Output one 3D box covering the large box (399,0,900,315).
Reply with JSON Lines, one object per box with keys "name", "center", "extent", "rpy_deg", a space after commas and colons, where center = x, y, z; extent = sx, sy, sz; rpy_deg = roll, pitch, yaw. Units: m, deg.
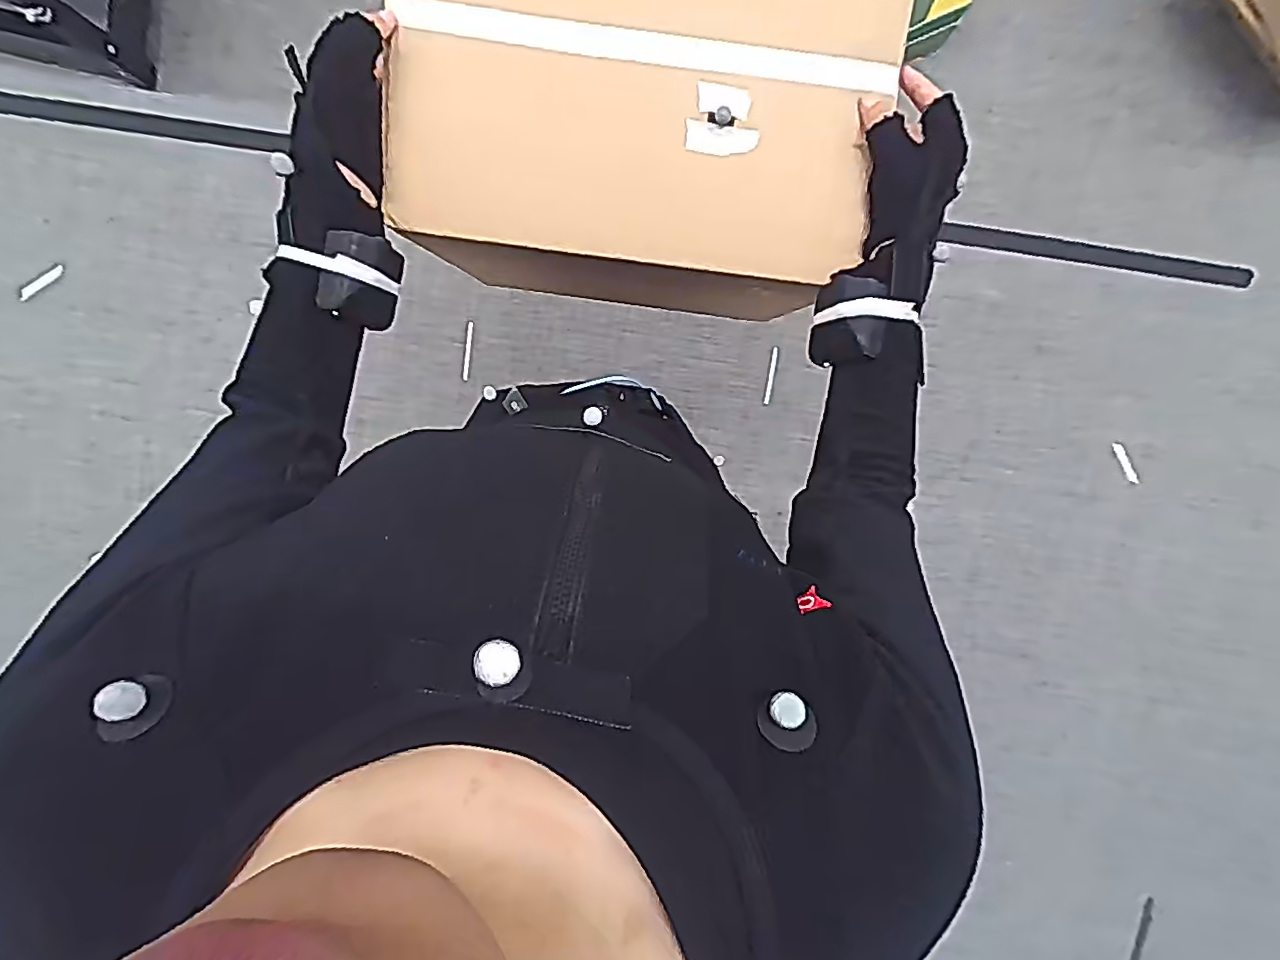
{"name": "large box", "center": [0.001, -0.373, 0.587], "extent": [0.408, 0.320, 0.320], "rpy_deg": [7, 102, -3]}
